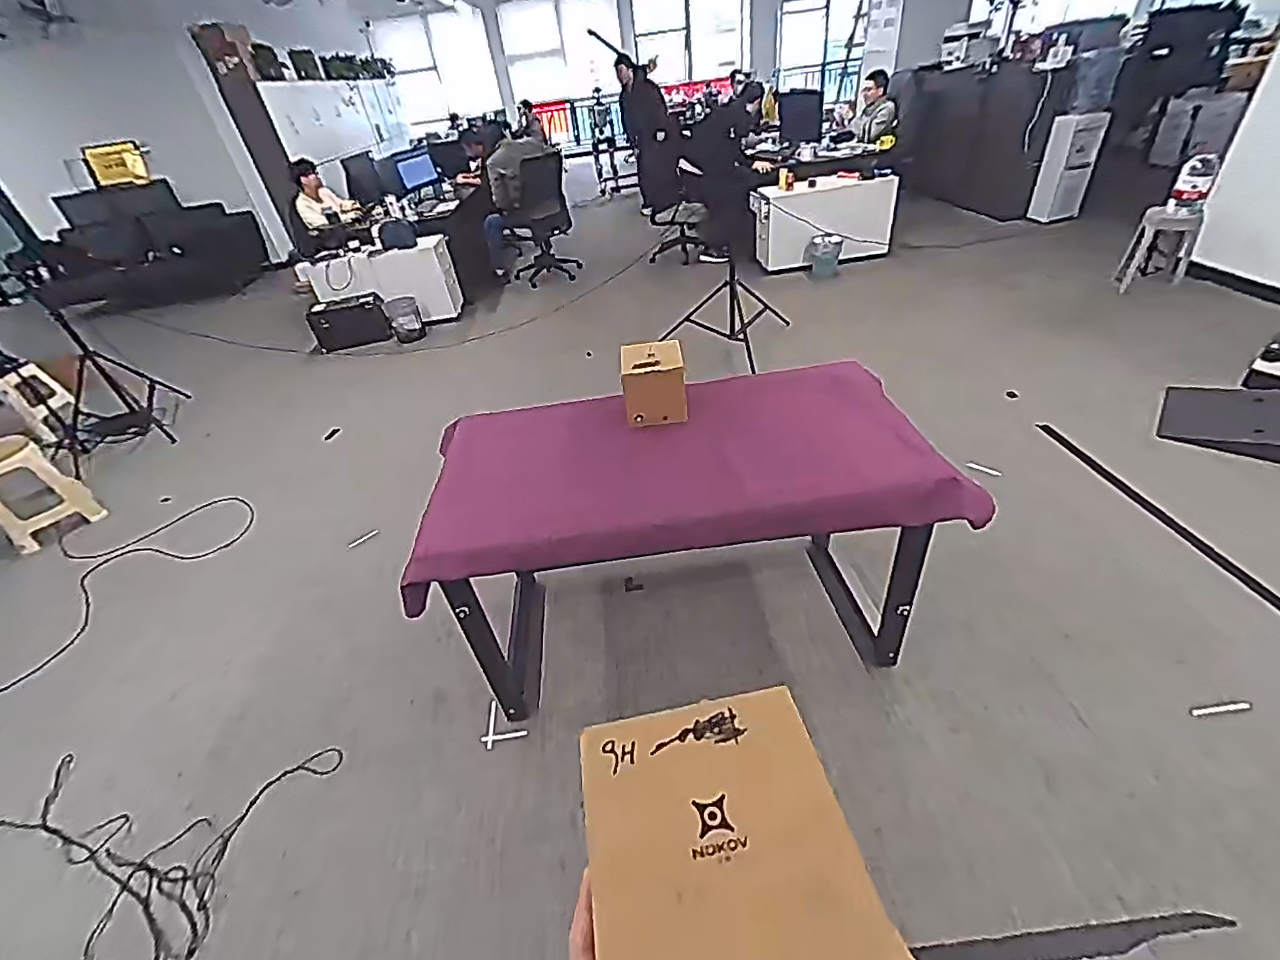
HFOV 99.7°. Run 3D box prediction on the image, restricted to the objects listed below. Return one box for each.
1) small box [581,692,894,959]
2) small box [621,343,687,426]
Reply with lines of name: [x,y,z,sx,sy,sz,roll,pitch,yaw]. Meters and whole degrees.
small box: [0.057,0.292,0.396,0.168,0.176,0.179,-11,37,-3]
small box: [0.040,-0.263,1.515,0.168,0.176,0.179,-6,38,3]
